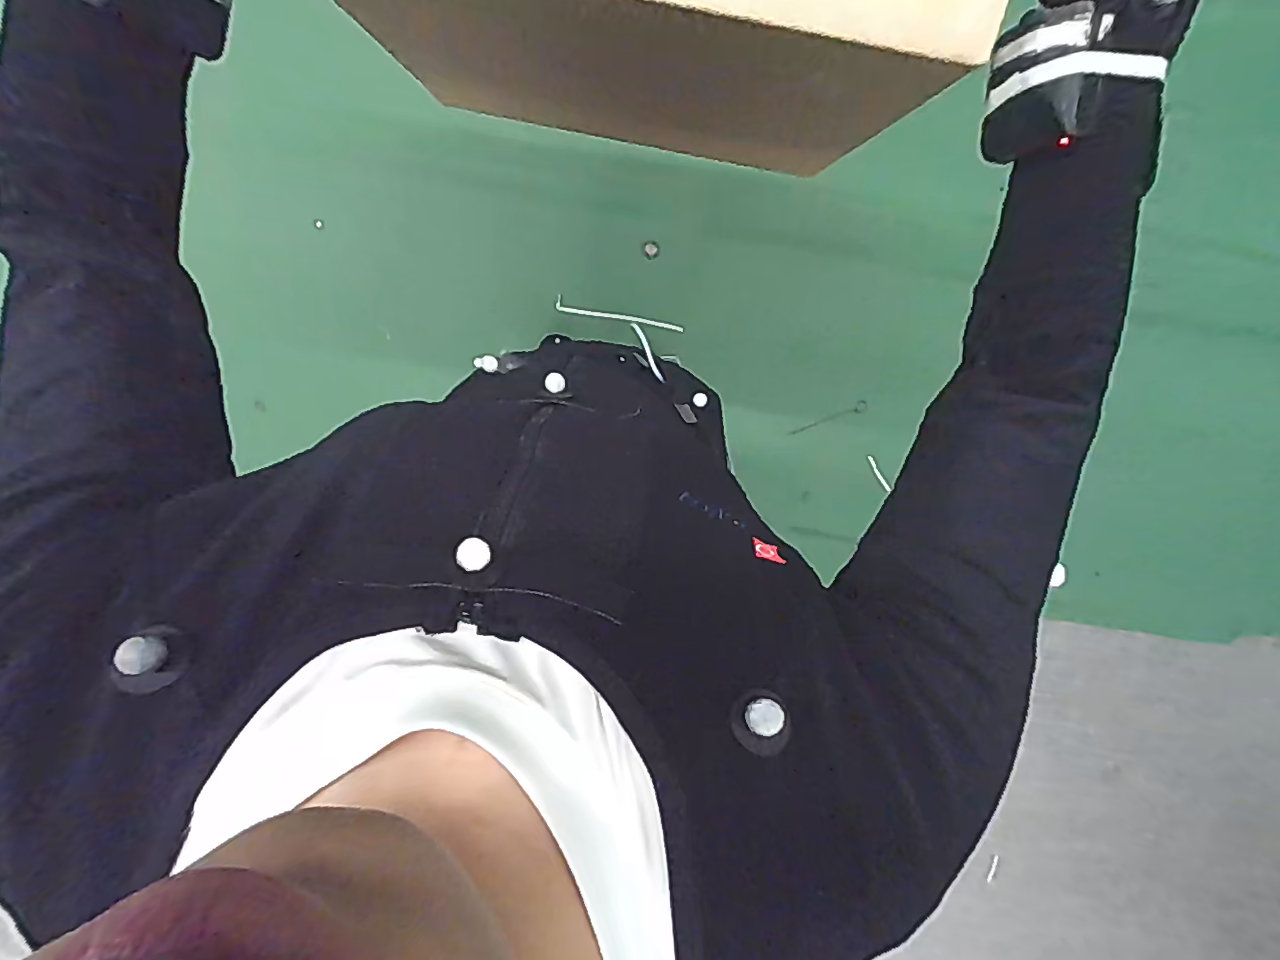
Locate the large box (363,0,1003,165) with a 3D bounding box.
[{"bbox_3d":[0.020,-0.461,0.387,0.408,0.320,0.320,8,109,-5],"label":"large box"}]
